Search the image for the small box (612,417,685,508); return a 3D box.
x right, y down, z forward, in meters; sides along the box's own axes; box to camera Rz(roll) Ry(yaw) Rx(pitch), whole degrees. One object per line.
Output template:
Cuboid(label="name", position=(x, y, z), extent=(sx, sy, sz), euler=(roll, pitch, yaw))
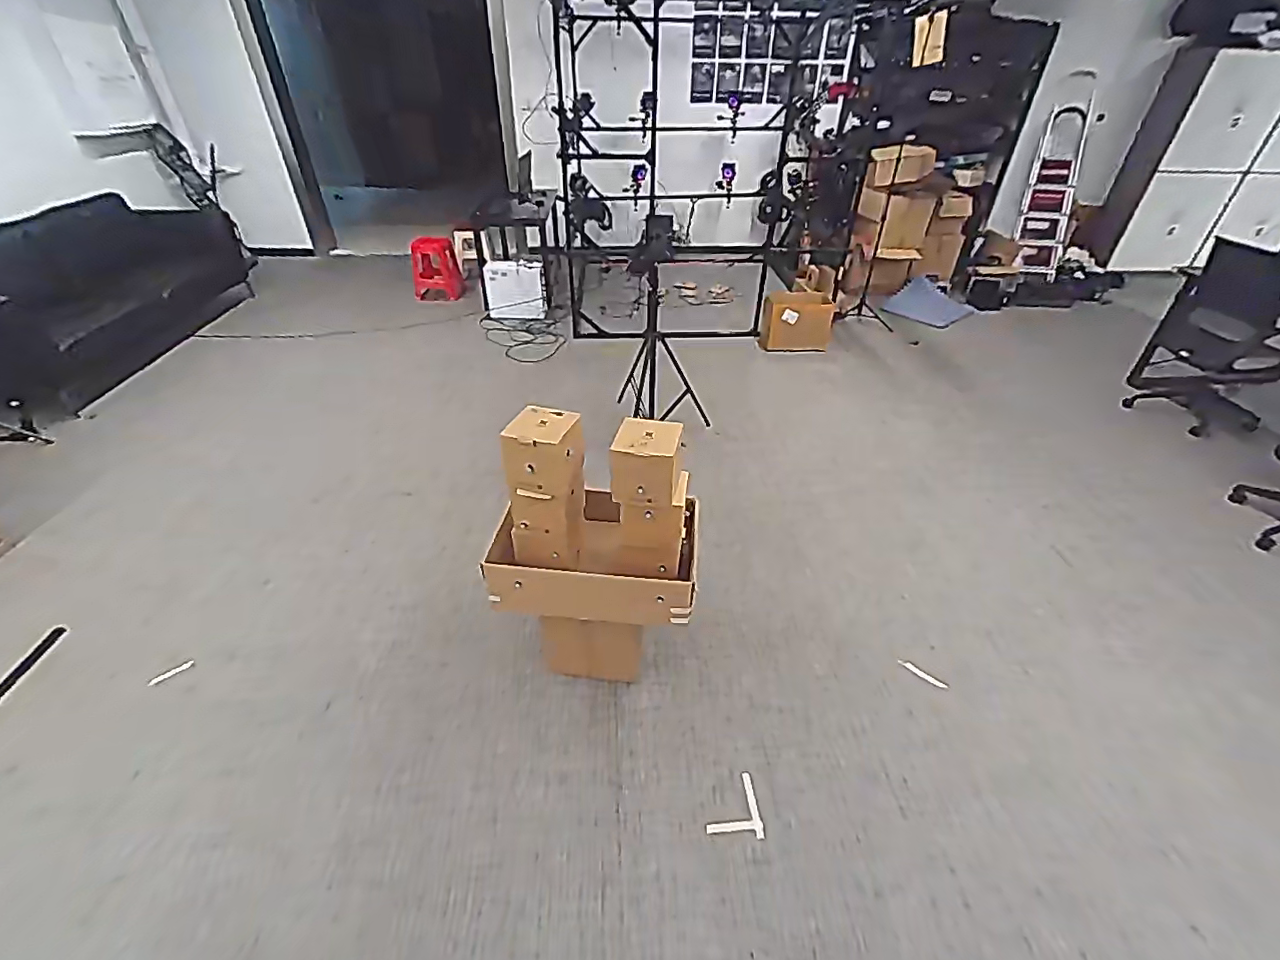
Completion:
Cuboid(label="small box", position=(0.025, -0.049, 1.468), extent=(0.168, 0.176, 0.179), euler=(7, 37, 10))

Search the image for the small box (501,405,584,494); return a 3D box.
Cuboid(label="small box", position=(-0.262, -0.084, 1.506), extent=(0.168, 0.176, 0.179), euler=(11, 38, 13))

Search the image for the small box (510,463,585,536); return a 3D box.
Cuboid(label="small box", position=(-0.265, 0.045, 1.608), extent=(0.168, 0.176, 0.179), euler=(9, 36, 11))

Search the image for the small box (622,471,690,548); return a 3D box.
Cuboid(label="small box", position=(0.047, 0.081, 1.568), extent=(0.179, 0.176, 0.168), euler=(5, 36, 7))
